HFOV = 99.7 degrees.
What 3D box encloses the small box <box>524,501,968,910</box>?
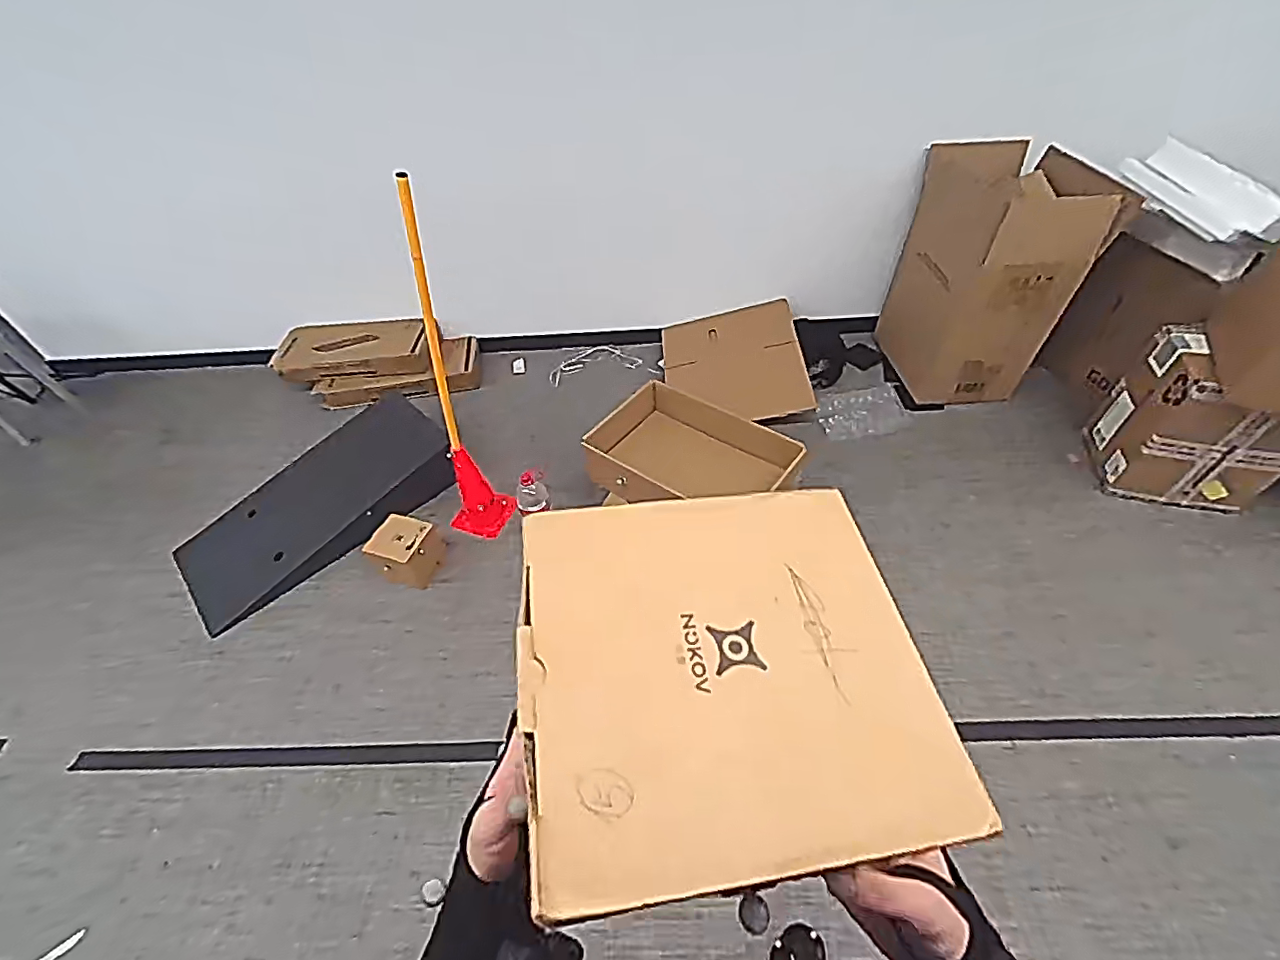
[{"bbox_3d":[0.030,0.131,0.313,0.179,0.176,0.168,-4,52,-10],"label":"small box"}]
